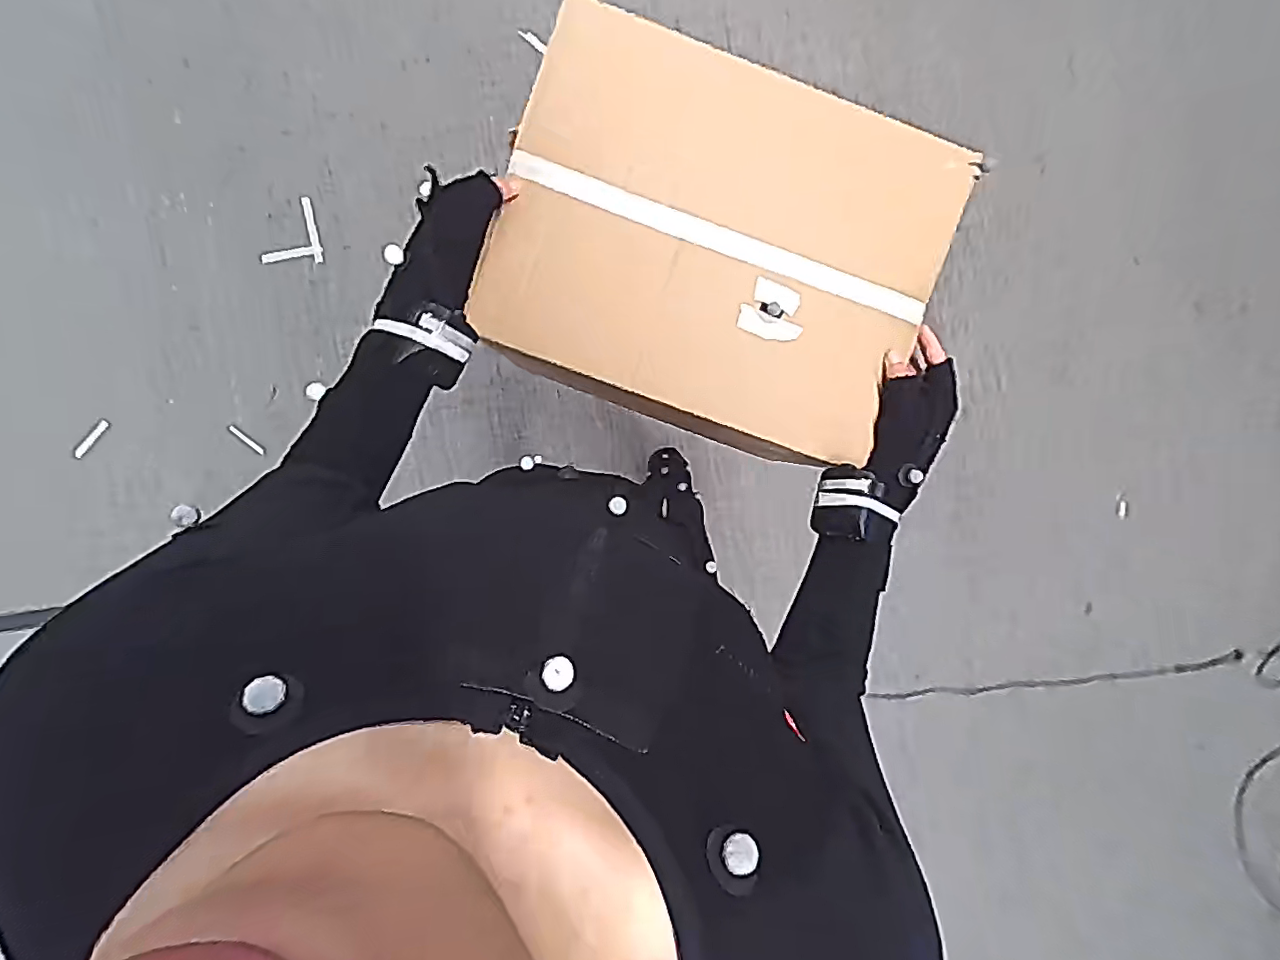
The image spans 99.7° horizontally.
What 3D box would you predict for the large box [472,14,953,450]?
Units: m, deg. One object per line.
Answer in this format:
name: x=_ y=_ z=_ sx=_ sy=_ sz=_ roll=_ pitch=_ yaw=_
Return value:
large box: x=0.063 y=-0.241 z=0.665 sx=0.408 sy=0.320 sz=0.320 roll=18 pitch=94 yaw=-3
